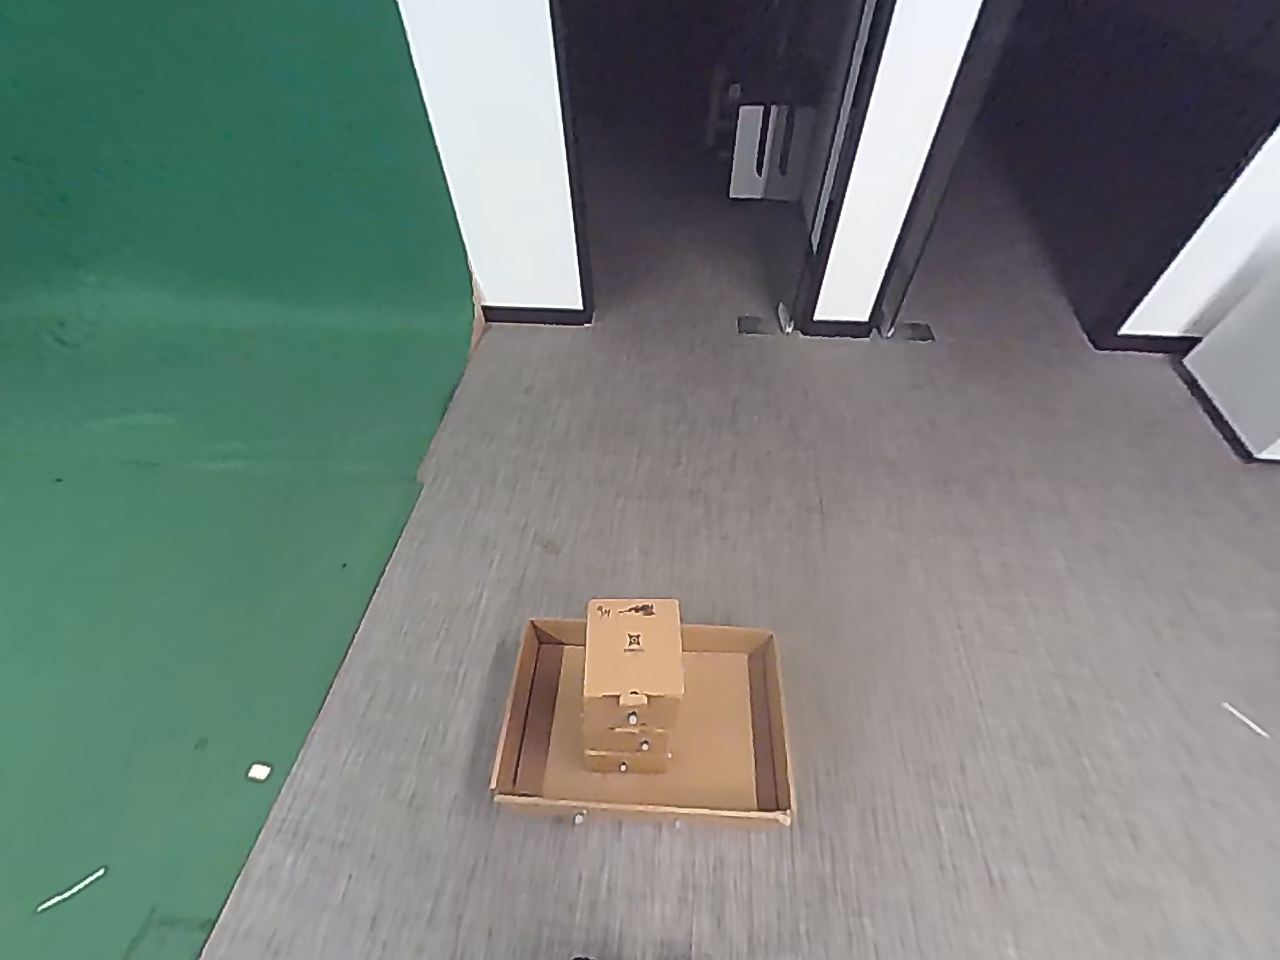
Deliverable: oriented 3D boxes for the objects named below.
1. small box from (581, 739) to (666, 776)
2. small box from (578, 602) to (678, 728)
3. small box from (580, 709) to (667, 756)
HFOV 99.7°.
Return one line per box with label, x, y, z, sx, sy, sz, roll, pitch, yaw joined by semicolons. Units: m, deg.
small box;-0.031;0.559;1.222;0.179;0.176;0.168;1;49;3
small box;-0.016;0.340;0.984;0.168;0.176;0.179;2;50;0
small box;-0.026;0.449;1.106;0.168;0.176;0.179;4;48;1
